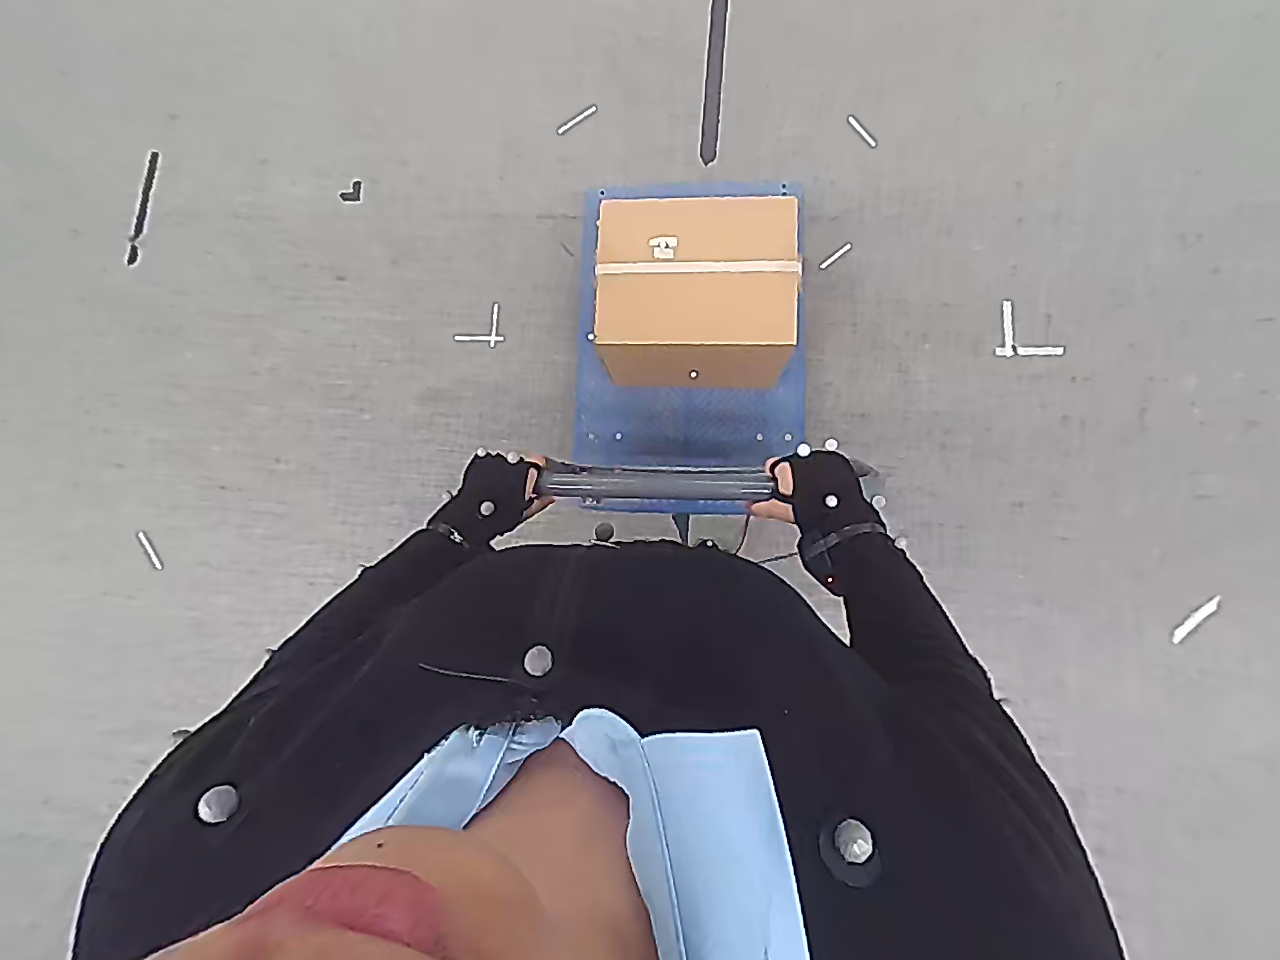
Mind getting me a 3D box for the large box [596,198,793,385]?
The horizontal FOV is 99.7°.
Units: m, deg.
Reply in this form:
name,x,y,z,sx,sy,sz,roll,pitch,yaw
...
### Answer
name,x,y,z,sx,sy,sz,roll,pitch,yaw
large box,0.126,-0.409,1.253,0.408,0.320,0.320,1,83,6
